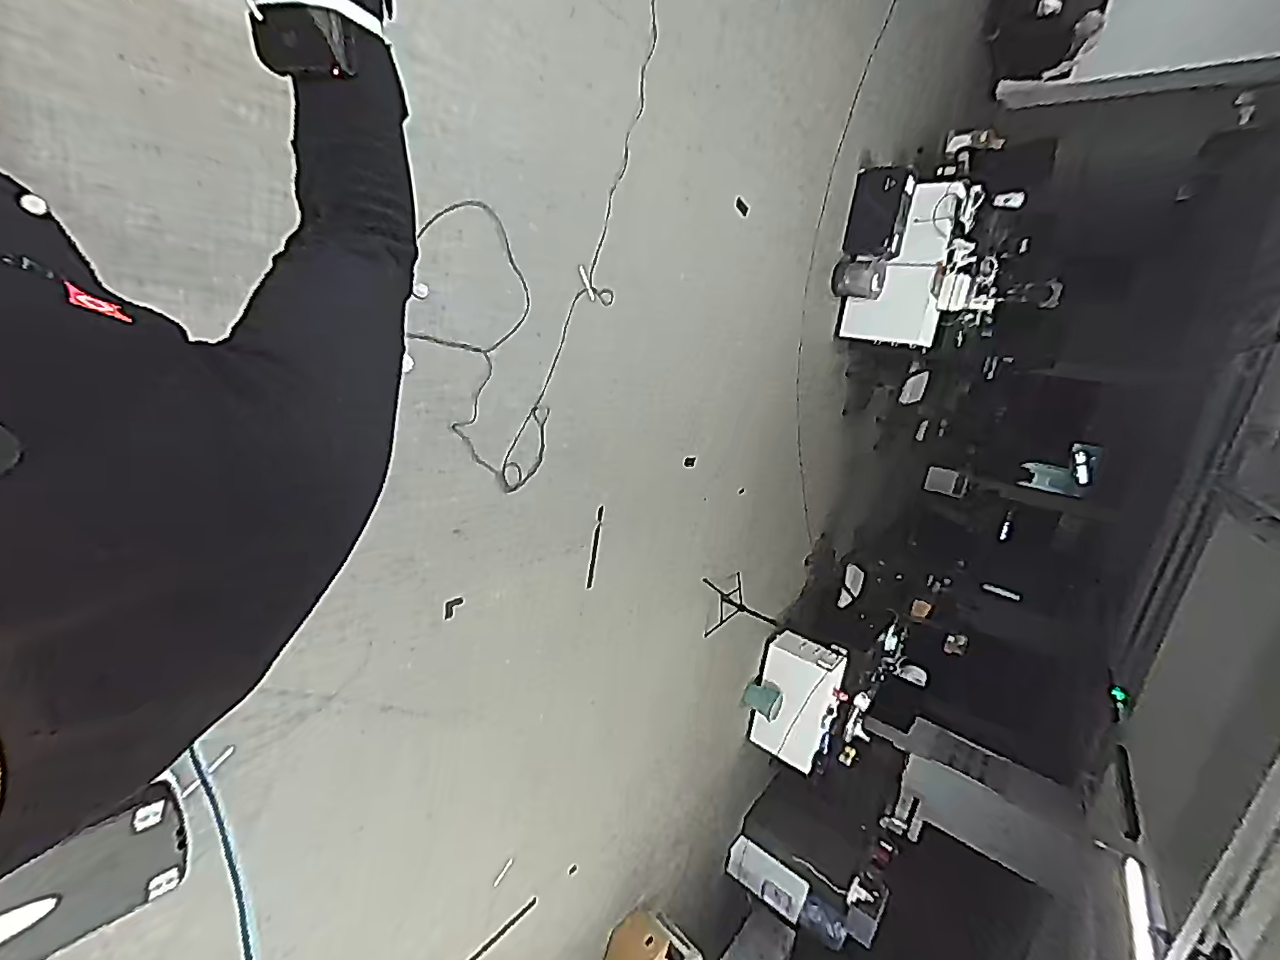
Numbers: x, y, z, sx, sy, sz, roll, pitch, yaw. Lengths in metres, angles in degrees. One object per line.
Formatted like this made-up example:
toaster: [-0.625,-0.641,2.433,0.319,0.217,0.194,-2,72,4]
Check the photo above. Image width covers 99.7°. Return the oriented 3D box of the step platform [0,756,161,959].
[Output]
step platform: [-1.349,0.838,1.008,0.684,0.204,0.286,-13,115,-49]
